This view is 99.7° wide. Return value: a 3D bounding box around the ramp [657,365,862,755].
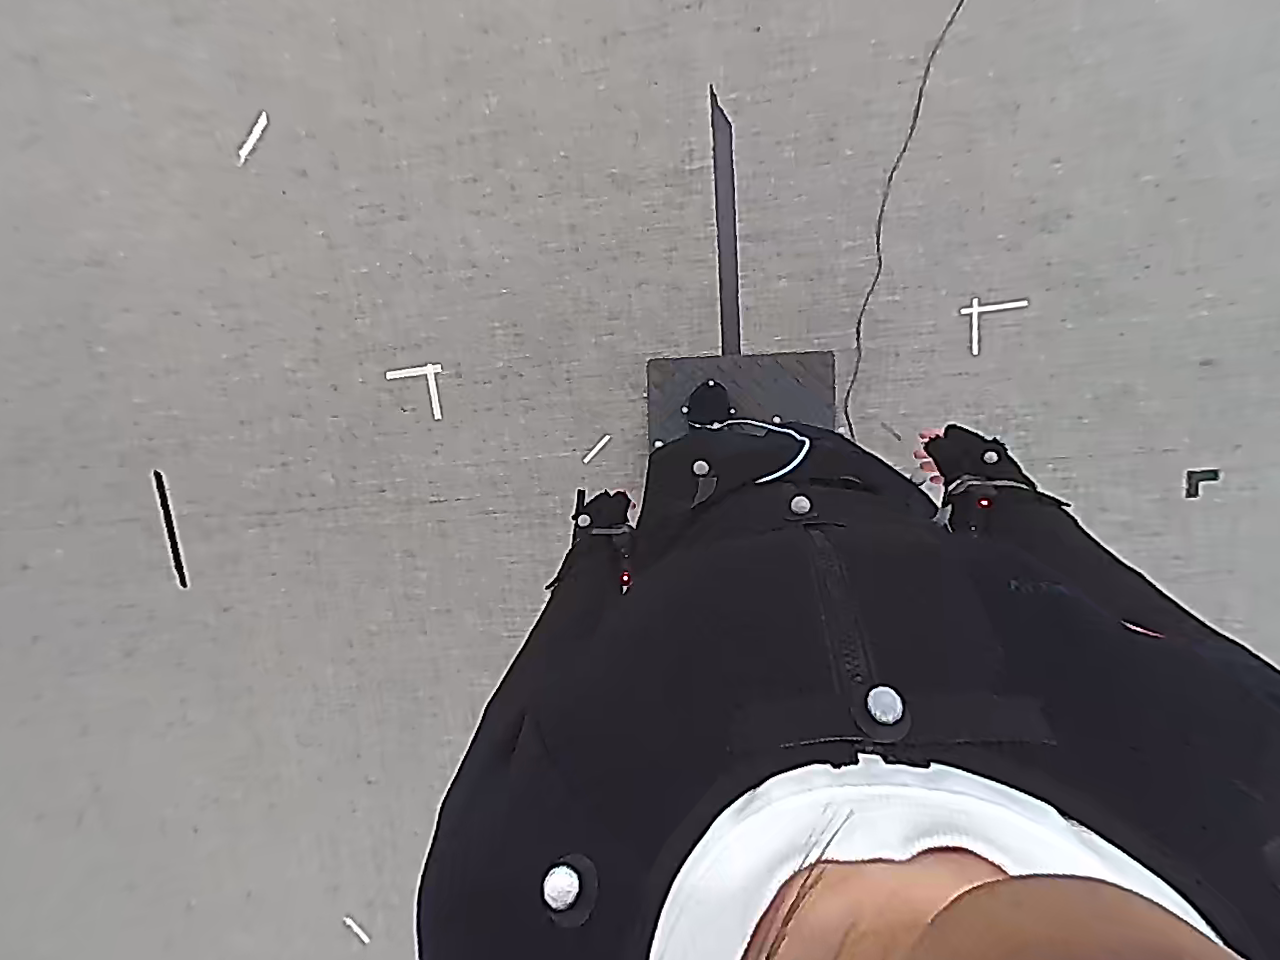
[{"bbox_3d":[0.300,0.203,1.427,0.509,0.206,0.991,-4,96,10],"label":"ramp"}]
